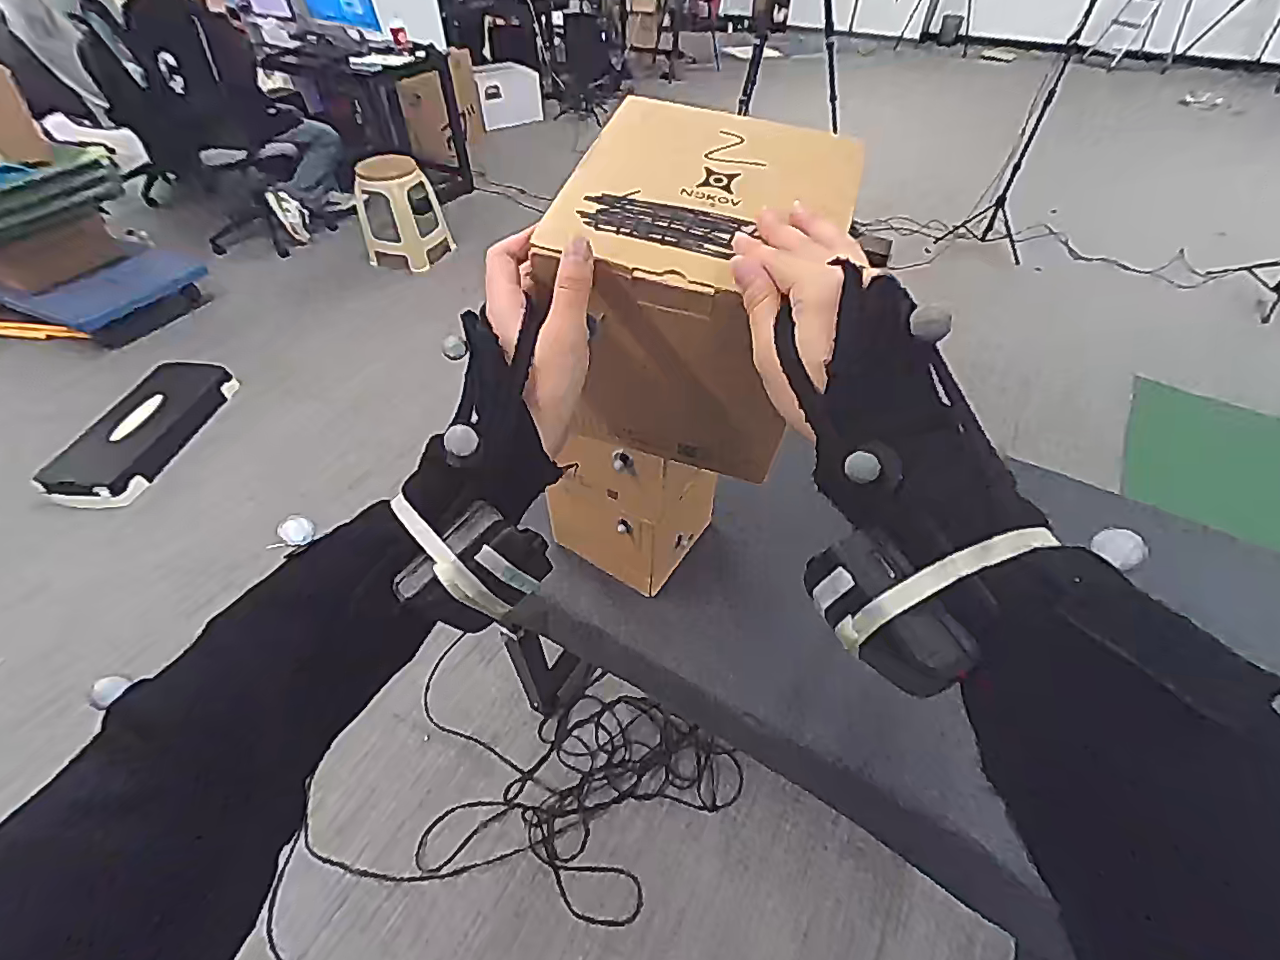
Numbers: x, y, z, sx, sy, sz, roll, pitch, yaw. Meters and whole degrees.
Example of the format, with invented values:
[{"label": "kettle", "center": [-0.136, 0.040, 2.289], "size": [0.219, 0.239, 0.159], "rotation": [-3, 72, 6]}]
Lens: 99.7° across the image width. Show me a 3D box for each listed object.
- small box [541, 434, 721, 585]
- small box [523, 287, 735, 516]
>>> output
[{"label": "small box", "center": [-0.012, 0.014, 0.748], "size": [0.179, 0.176, 0.168], "rotation": [27, 53, 21]}, {"label": "small box", "center": [-0.009, -0.089, 0.622], "size": [0.168, 0.176, 0.179], "rotation": [23, 50, 17]}]
